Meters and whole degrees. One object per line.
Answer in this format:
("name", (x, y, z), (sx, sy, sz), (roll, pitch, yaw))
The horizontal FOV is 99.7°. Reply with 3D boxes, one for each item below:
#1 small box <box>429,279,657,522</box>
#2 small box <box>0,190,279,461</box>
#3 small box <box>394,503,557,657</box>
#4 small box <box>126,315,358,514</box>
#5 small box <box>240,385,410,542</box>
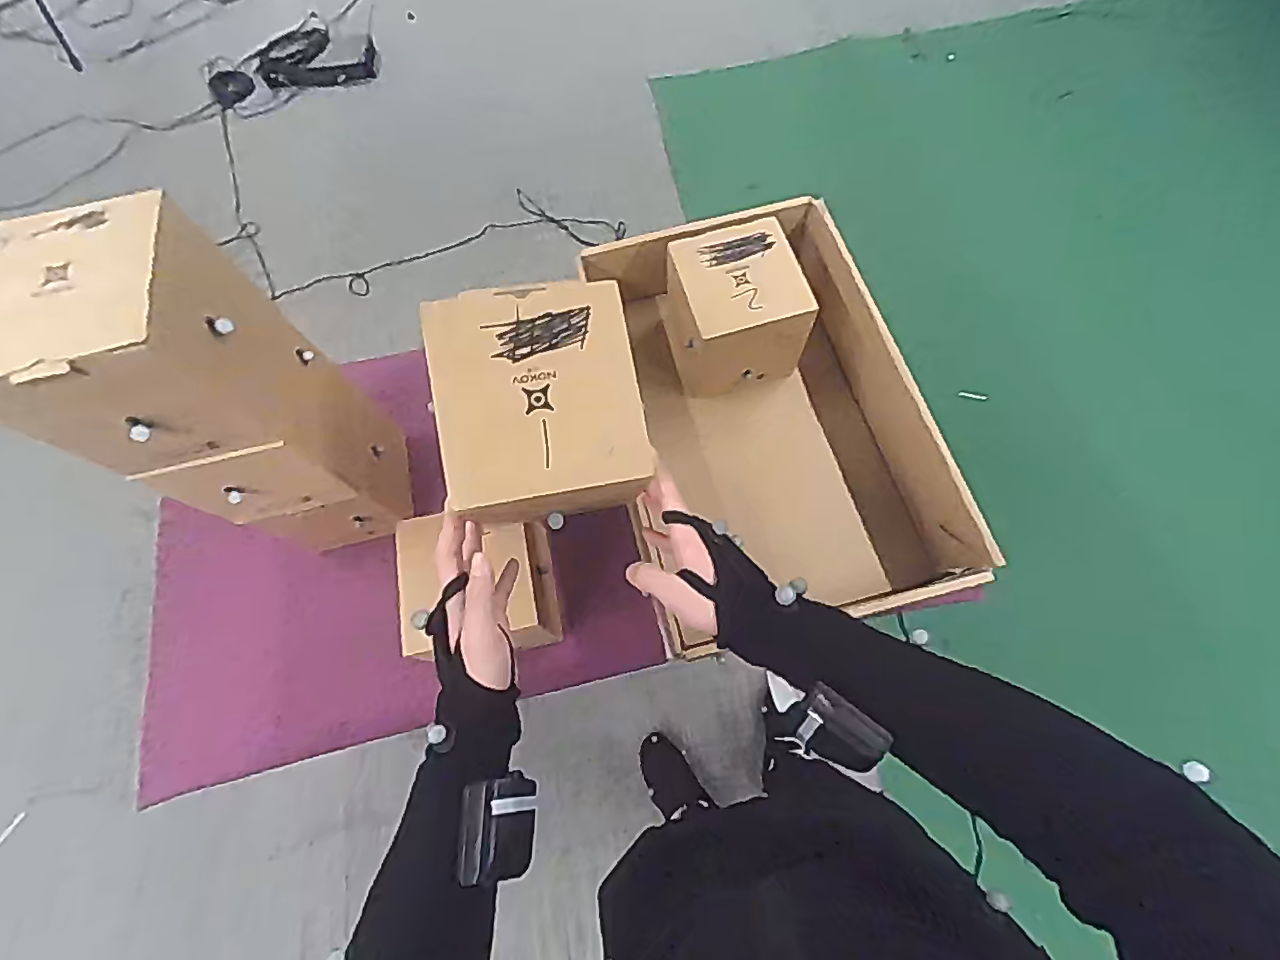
("small box", (-0.089, -0.064, 0.518), (0.168, 0.176, 0.179), (-10, 83, -8))
("small box", (-0.478, -0.131, 0.518), (0.168, 0.176, 0.179), (-14, 70, -4))
("small box", (-0.219, 0.142, 0.747), (0.168, 0.176, 0.179), (-12, 68, -3))
("small box", (-0.472, -0.068, 0.670), (0.168, 0.176, 0.179), (-14, 69, -3))
("small box", (-0.467, -0.014, 0.822), (0.168, 0.176, 0.179), (-13, 69, -3))
